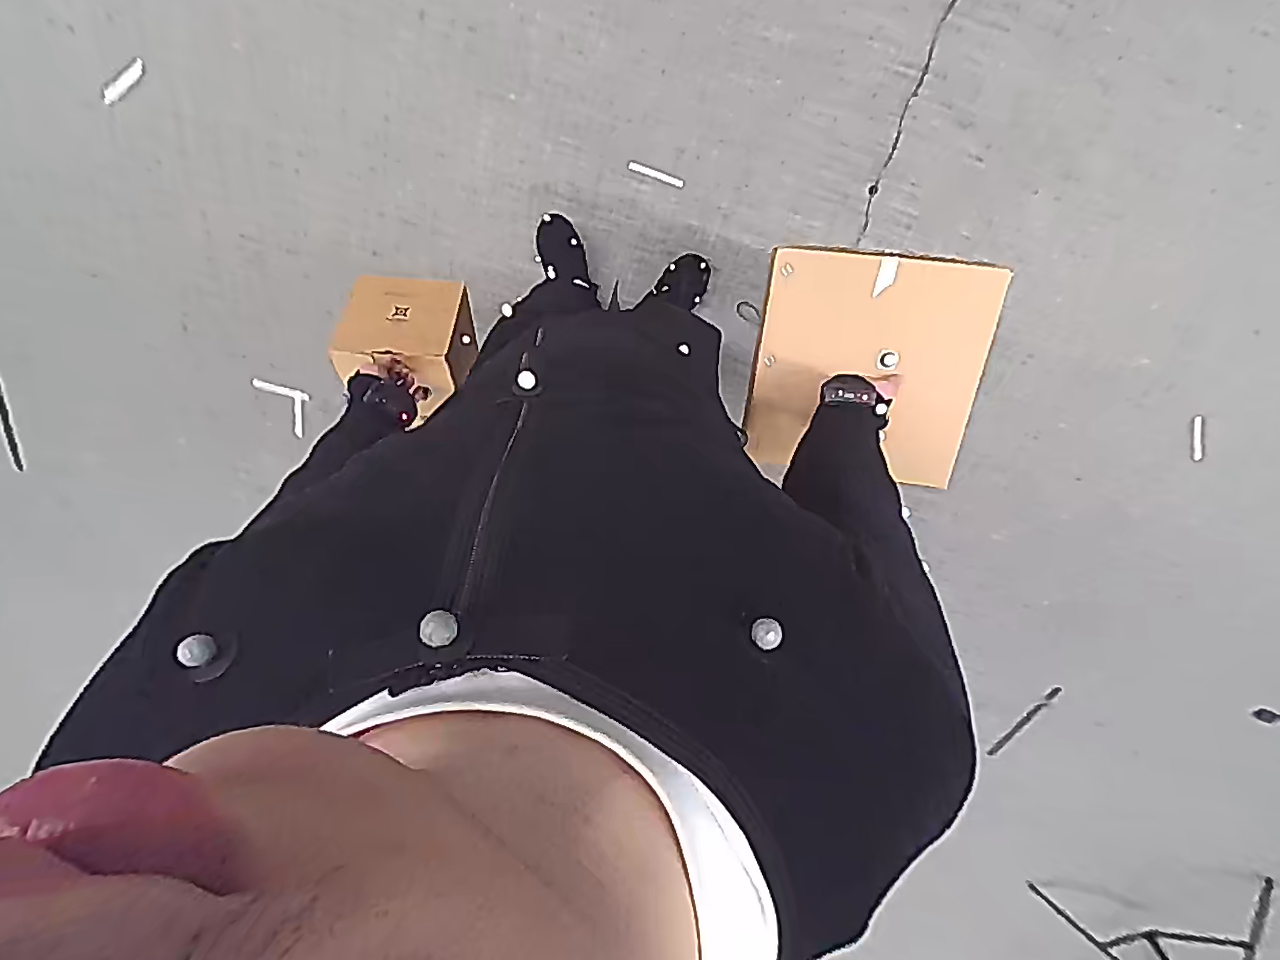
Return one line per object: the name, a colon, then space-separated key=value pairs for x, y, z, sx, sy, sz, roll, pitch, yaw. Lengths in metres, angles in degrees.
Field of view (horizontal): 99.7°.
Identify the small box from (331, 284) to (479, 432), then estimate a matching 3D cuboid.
small box: x=-0.368 y=-0.194 z=0.886 sx=0.168 sy=0.179 sz=0.176 roll=2 pitch=144 yaw=-5
